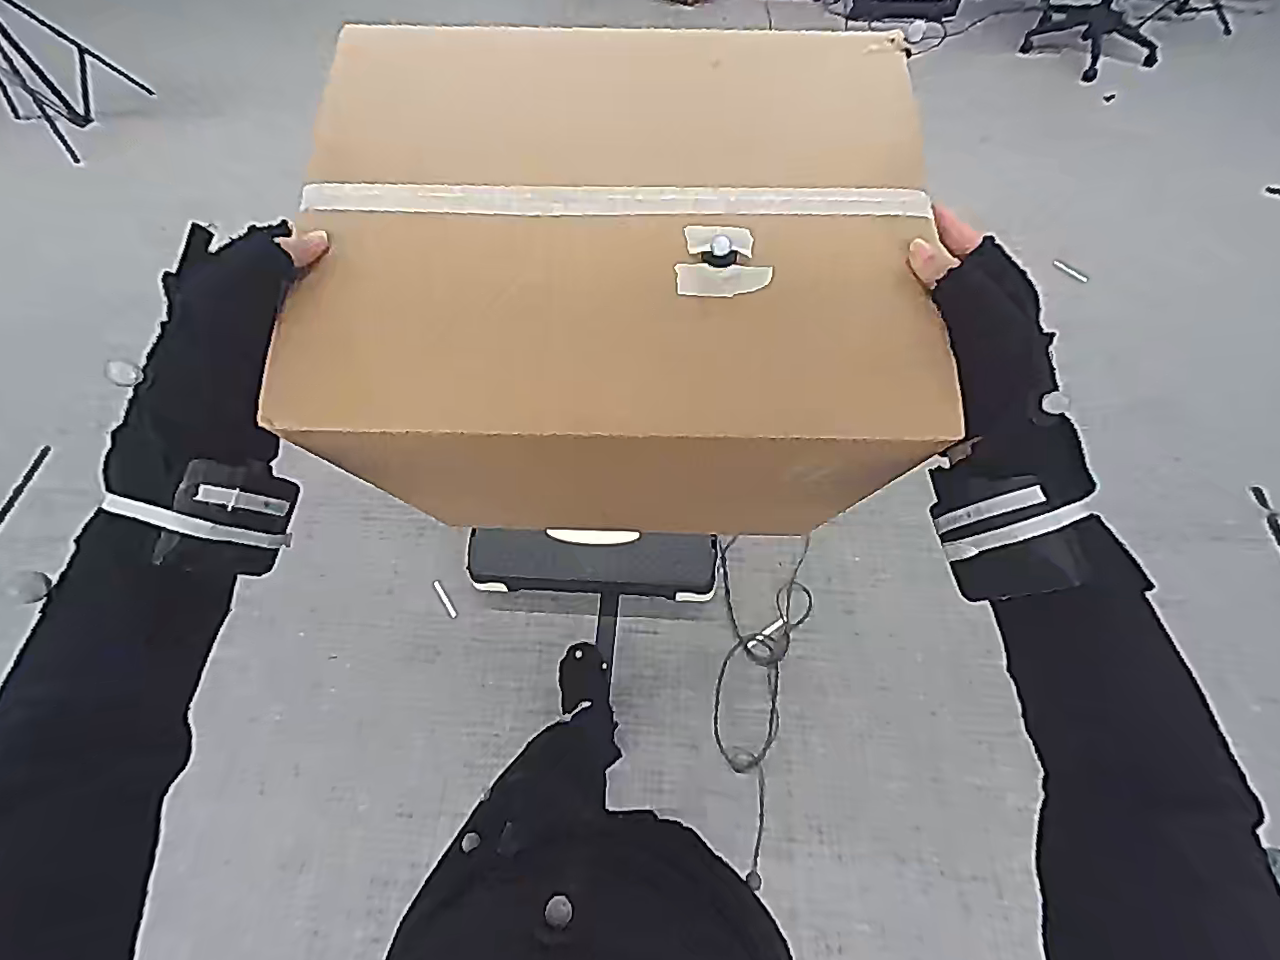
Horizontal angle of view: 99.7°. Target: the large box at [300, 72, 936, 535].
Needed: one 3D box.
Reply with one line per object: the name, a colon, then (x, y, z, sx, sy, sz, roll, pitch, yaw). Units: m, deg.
large box: (-0.014, -0.128, 0.518, 0.408, 0.320, 0.320, 1, 74, 0)
